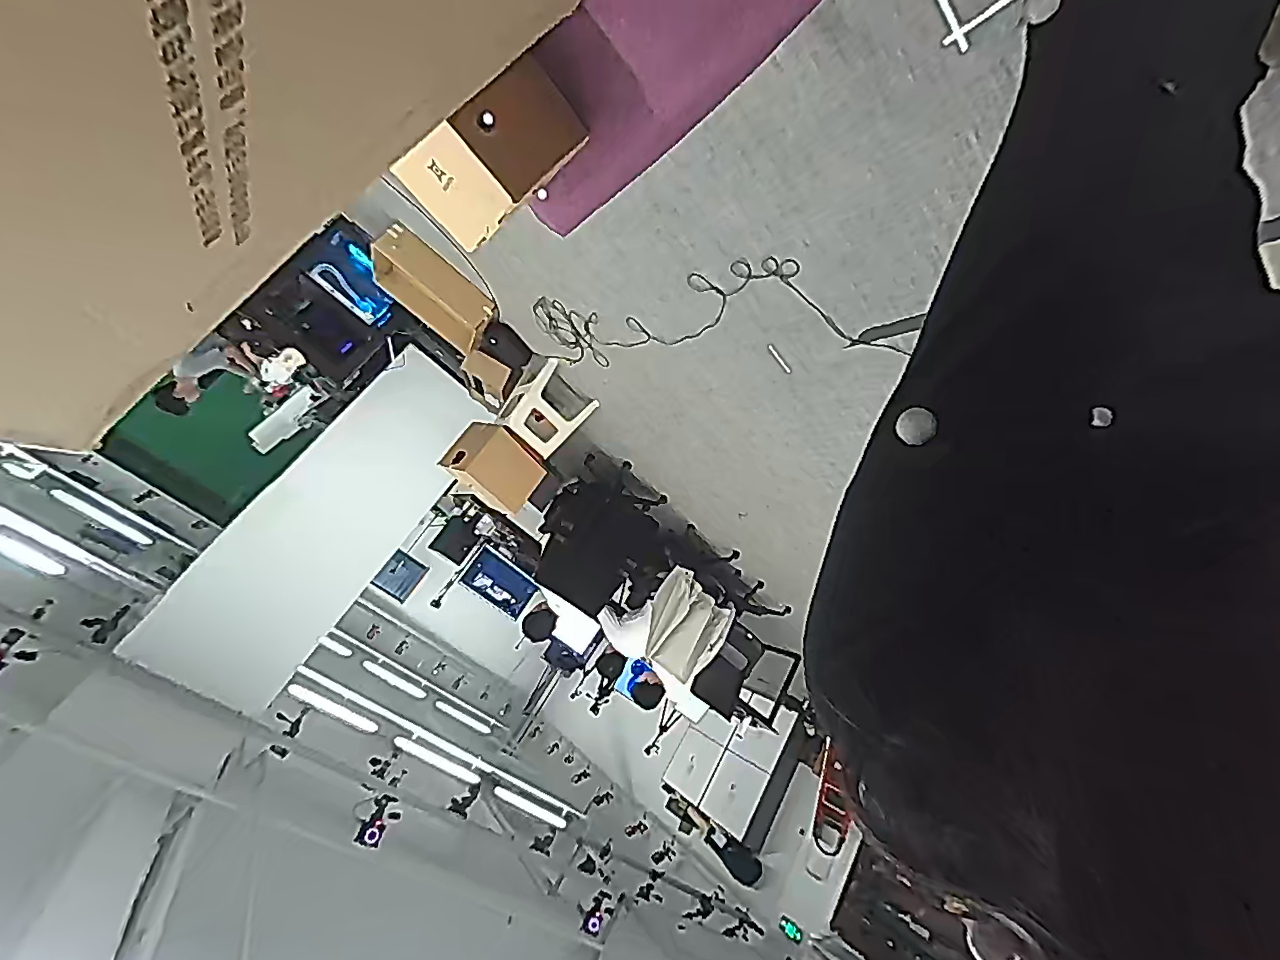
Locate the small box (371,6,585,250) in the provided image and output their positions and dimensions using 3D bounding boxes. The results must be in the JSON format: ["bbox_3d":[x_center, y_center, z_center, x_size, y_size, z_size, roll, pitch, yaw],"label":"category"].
[{"bbox_3d":[-0.203,-0.443,0.697,0.179,0.176,0.168,46,153,-25],"label":"small box"}]
